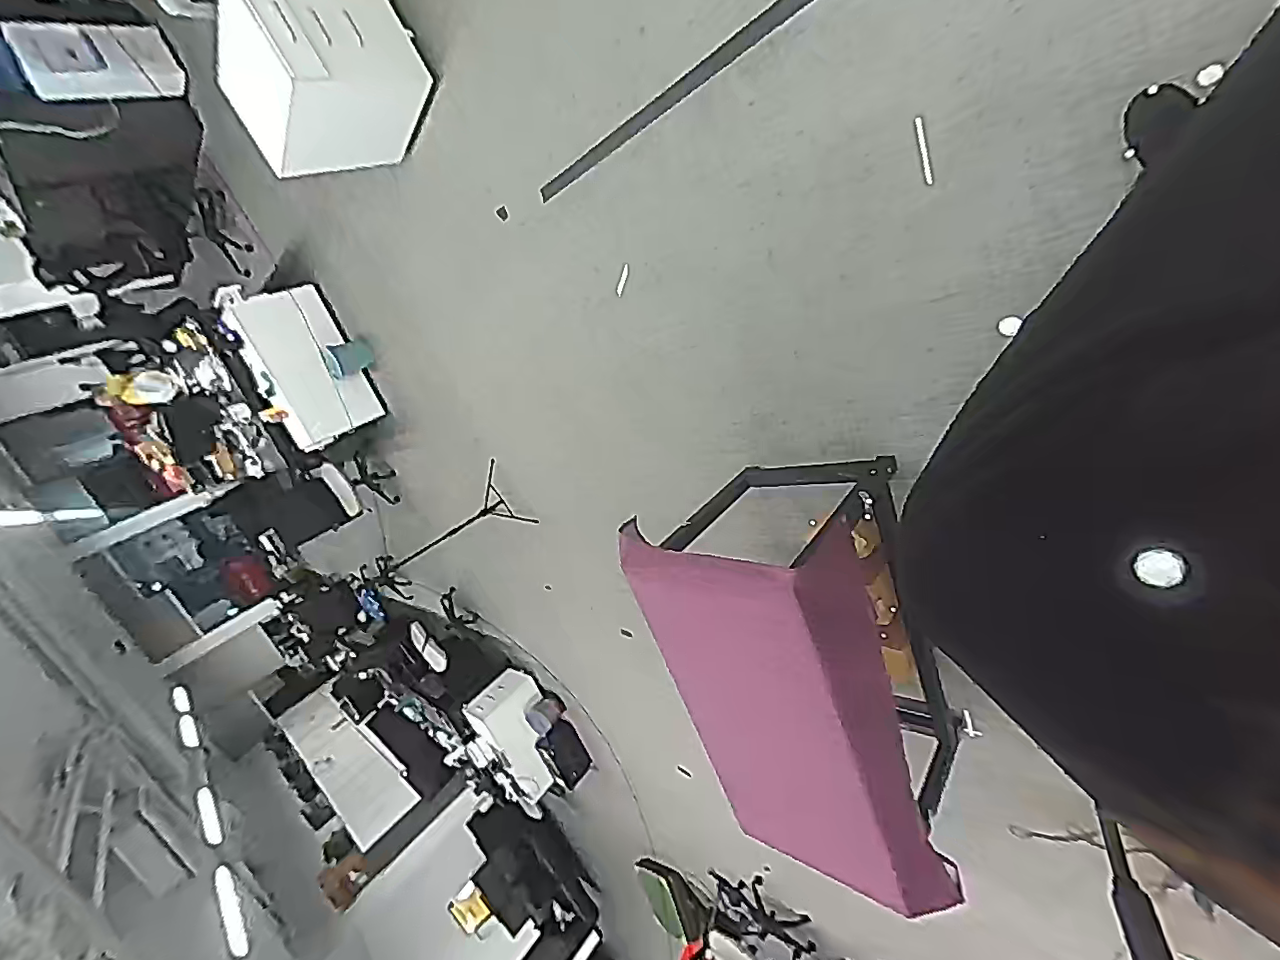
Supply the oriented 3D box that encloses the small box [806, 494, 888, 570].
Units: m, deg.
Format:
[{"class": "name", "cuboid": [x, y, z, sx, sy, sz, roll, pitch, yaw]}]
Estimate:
[{"class": "small box", "cuboid": [0.723, 0.179, 1.883, 0.168, 0.176, 0.179, 49, 143, 5]}]
